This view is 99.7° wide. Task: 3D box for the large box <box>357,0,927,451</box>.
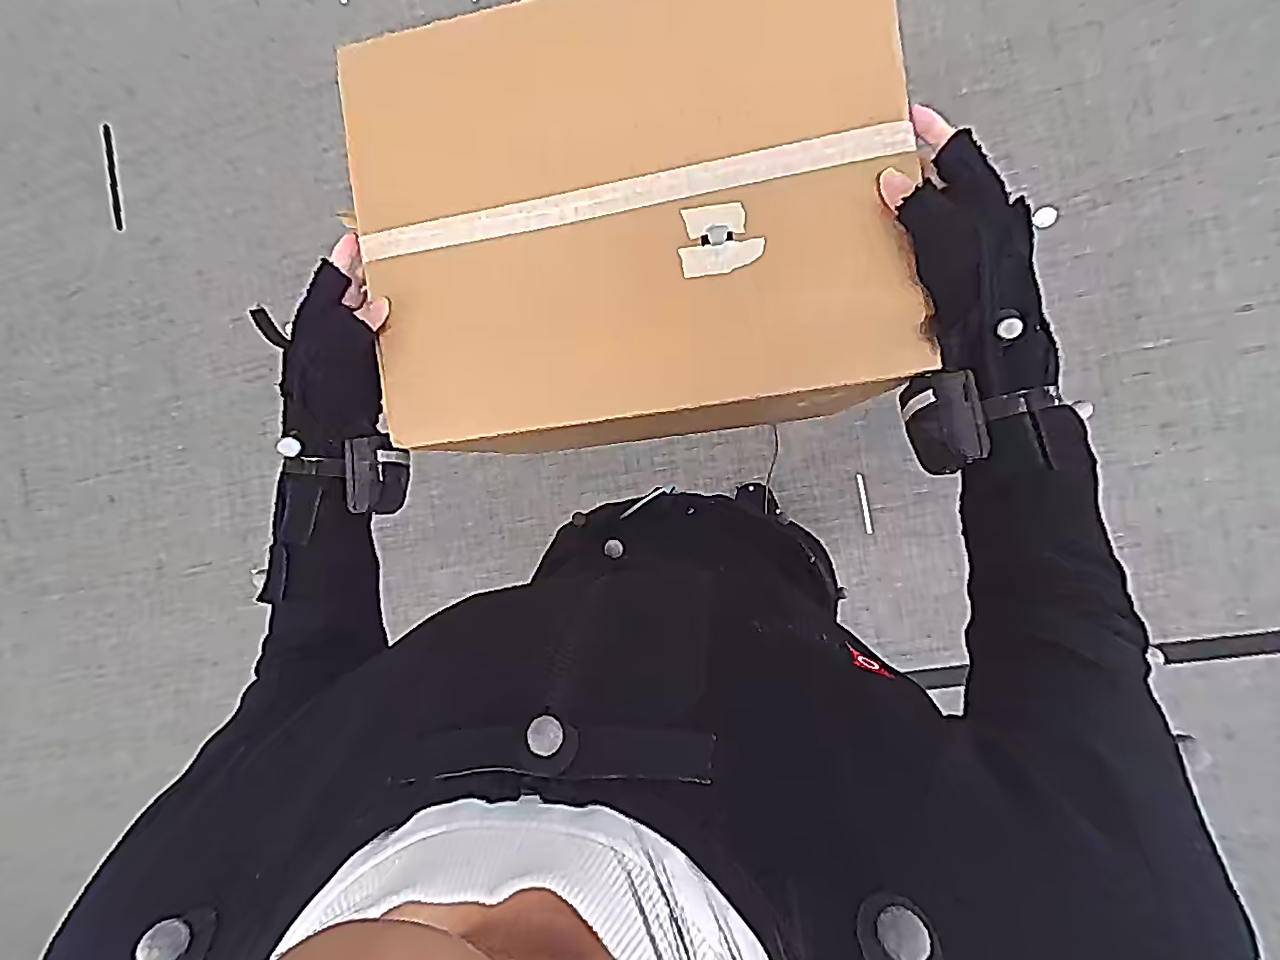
[{"bbox_3d":[0.006,-0.213,0.553,0.408,0.320,0.320,-8,92,7],"label":"large box"}]
